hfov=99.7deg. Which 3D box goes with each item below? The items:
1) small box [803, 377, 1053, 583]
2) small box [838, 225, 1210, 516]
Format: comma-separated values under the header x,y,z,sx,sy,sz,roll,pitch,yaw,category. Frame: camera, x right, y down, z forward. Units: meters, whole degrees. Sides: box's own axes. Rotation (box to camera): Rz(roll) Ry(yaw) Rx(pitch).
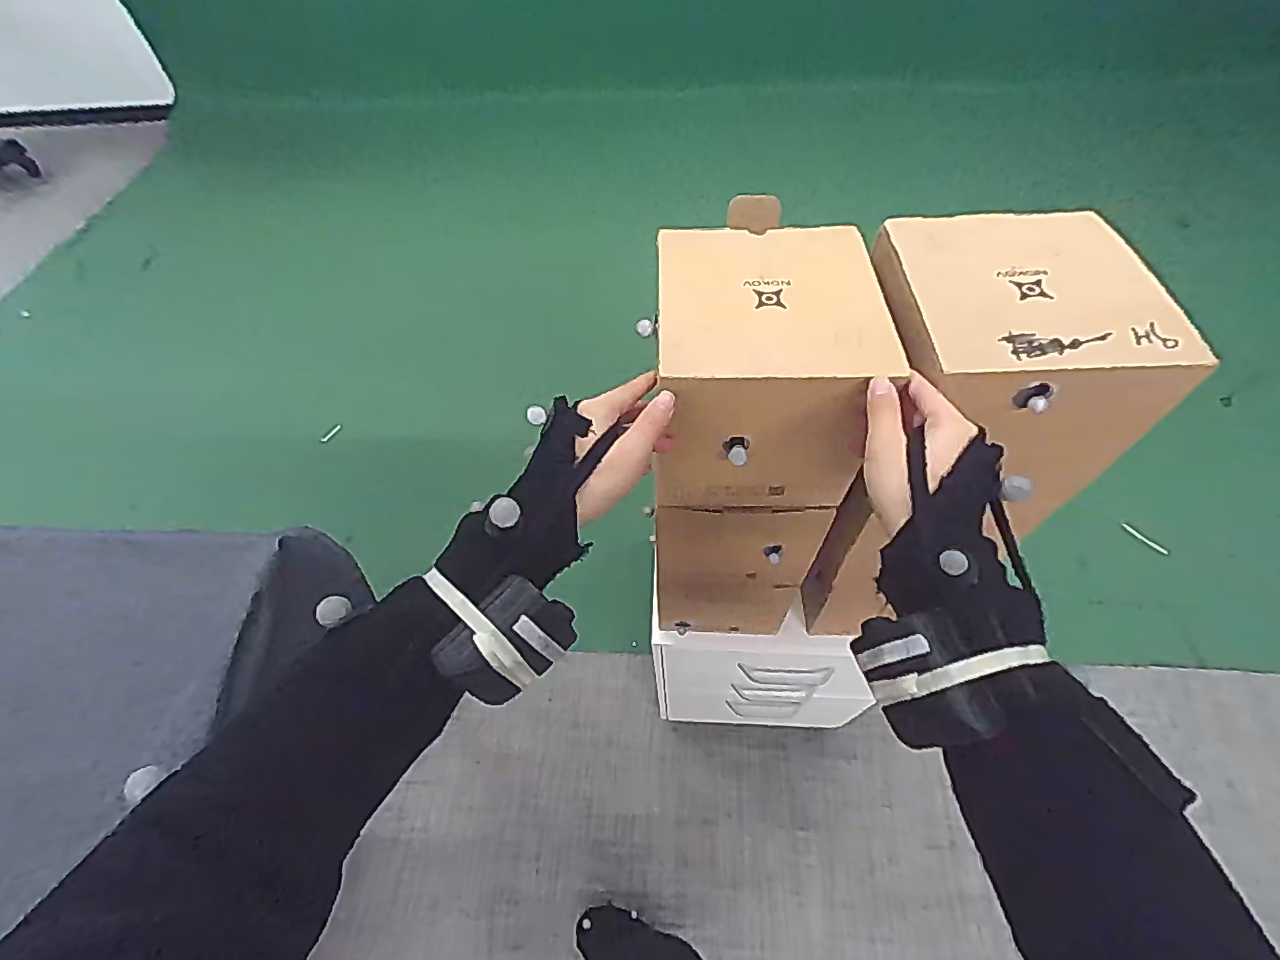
x,y,z,sx,sy,sz,roll,pitch,yaw,category
0.287,0.004,0.588,0.168,0.176,0.179,-2,55,2,small box
0.279,-0.088,0.453,0.168,0.176,0.179,0,54,3,small box
